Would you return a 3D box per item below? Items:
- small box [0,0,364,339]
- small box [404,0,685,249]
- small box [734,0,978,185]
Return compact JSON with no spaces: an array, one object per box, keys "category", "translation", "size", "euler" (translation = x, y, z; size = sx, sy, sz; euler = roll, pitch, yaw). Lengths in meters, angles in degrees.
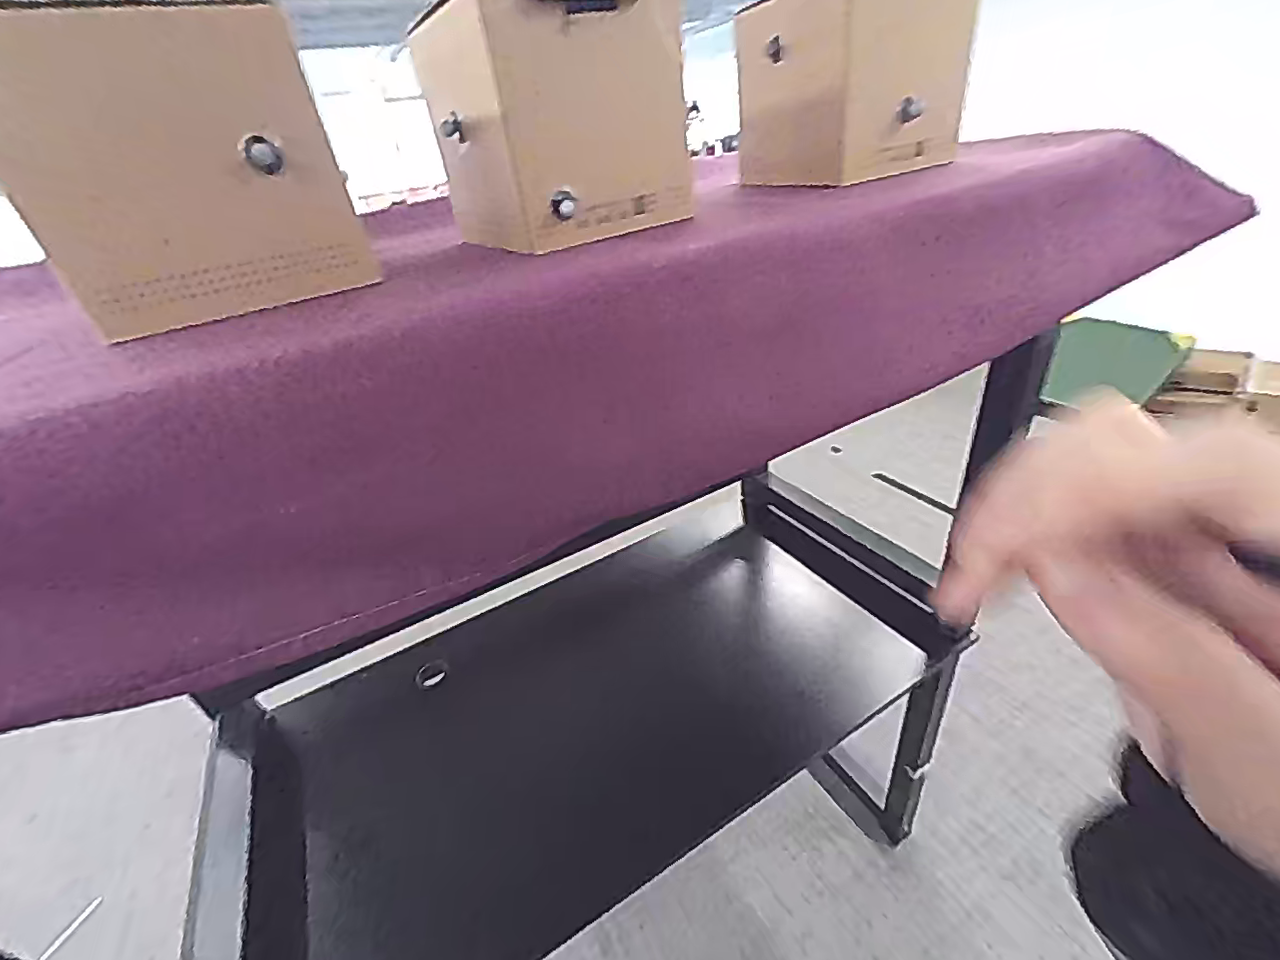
[{"category":"small box","translation":[-0.320,-0.217,0.388],"size":[0.179,0.176,0.168],"euler":[-25,35,-24]},{"category":"small box","translation":[-0.076,-0.307,0.472],"size":[0.168,0.176,0.179],"euler":[-26,35,-26]},{"category":"small box","translation":[0.217,-0.420,0.578],"size":[0.168,0.176,0.179],"euler":[-21,34,-18]}]
